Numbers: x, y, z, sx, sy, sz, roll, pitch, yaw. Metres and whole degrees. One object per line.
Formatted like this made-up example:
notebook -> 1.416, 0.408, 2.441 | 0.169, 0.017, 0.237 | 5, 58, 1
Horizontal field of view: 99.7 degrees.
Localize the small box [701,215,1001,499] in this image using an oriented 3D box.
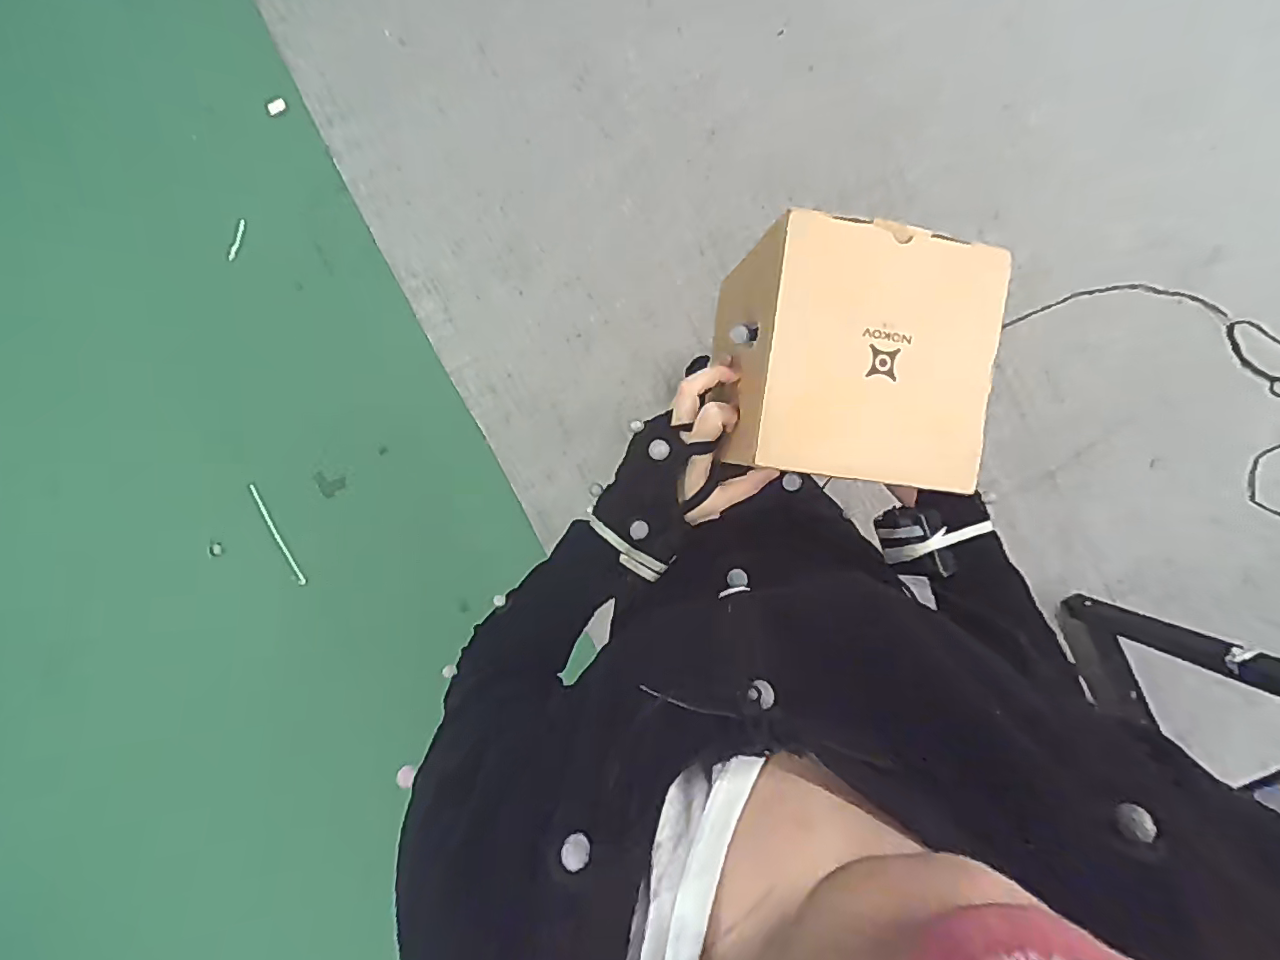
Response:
small box -> 0.155, -0.087, 0.456 | 0.168, 0.176, 0.179 | 8, 92, -7
